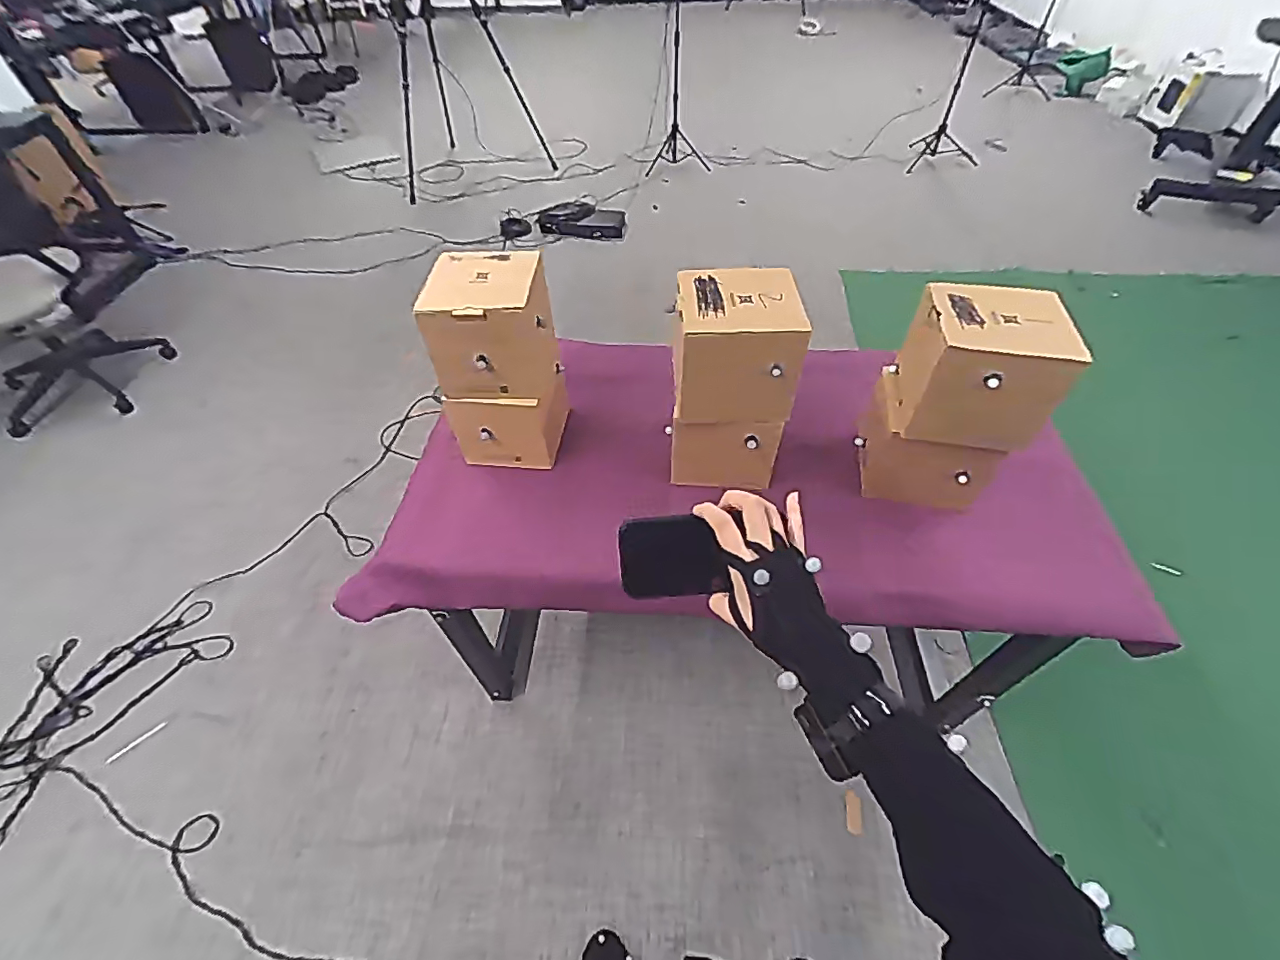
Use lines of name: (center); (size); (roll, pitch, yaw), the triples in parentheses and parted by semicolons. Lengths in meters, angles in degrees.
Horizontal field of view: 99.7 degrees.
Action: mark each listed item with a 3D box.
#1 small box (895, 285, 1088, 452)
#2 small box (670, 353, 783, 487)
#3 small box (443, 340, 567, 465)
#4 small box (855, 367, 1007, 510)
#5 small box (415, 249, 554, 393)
small box: (0.488, -0.160, 0.790); (0.179, 0.176, 0.168); (9, 51, 8)
small box: (0.148, -0.103, 0.963); (0.179, 0.176, 0.168); (4, 50, 5)
small box: (-0.238, -0.146, 1.010); (0.168, 0.176, 0.179); (5, 50, 5)
small box: (0.484, -0.068, 0.926); (0.179, 0.176, 0.168); (9, 50, 9)
small box: (-0.241, -0.258, 0.890); (0.168, 0.176, 0.179); (1, 51, 1)
